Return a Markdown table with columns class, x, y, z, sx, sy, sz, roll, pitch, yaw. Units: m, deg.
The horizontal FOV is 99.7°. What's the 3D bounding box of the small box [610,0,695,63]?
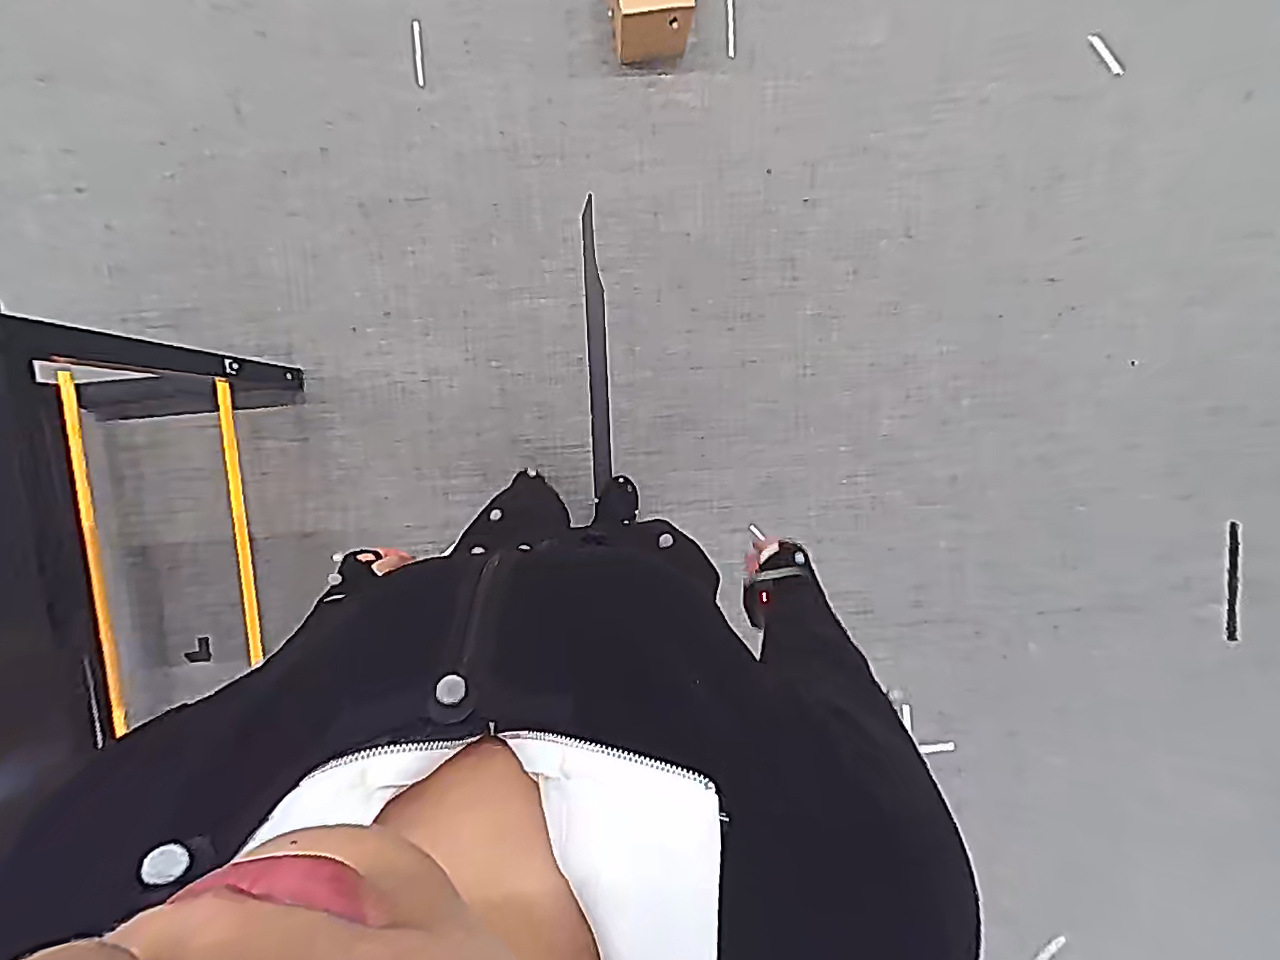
| class | x | y | z | sx | sy | sz | roll | pitch | yaw |
| --- | --- | --- | --- | --- | --- | --- | --- | --- | --- |
| small box | 0.025 | -1.157 | 1.307 | 0.179 | 0.176 | 0.168 | -10 | 95 | -2 |
